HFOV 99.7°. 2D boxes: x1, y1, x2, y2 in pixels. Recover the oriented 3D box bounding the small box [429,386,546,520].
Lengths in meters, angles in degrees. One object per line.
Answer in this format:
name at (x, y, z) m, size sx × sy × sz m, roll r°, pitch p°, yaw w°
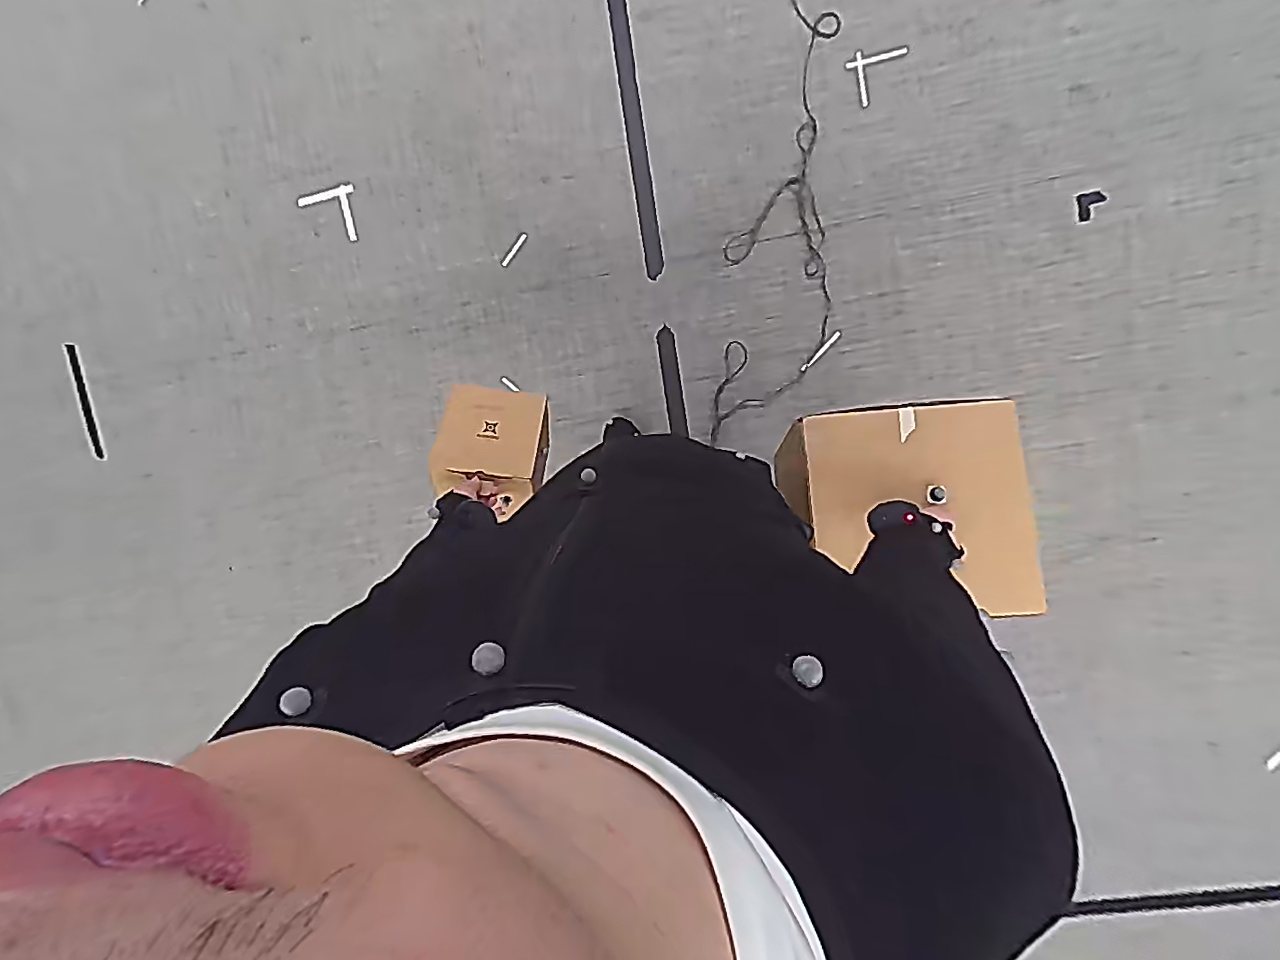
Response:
small box at (-0.264, -0.042, 0.981) m, size 0.168 × 0.176 × 0.179 m, roll 7°, pitch 60°, yaw -5°
